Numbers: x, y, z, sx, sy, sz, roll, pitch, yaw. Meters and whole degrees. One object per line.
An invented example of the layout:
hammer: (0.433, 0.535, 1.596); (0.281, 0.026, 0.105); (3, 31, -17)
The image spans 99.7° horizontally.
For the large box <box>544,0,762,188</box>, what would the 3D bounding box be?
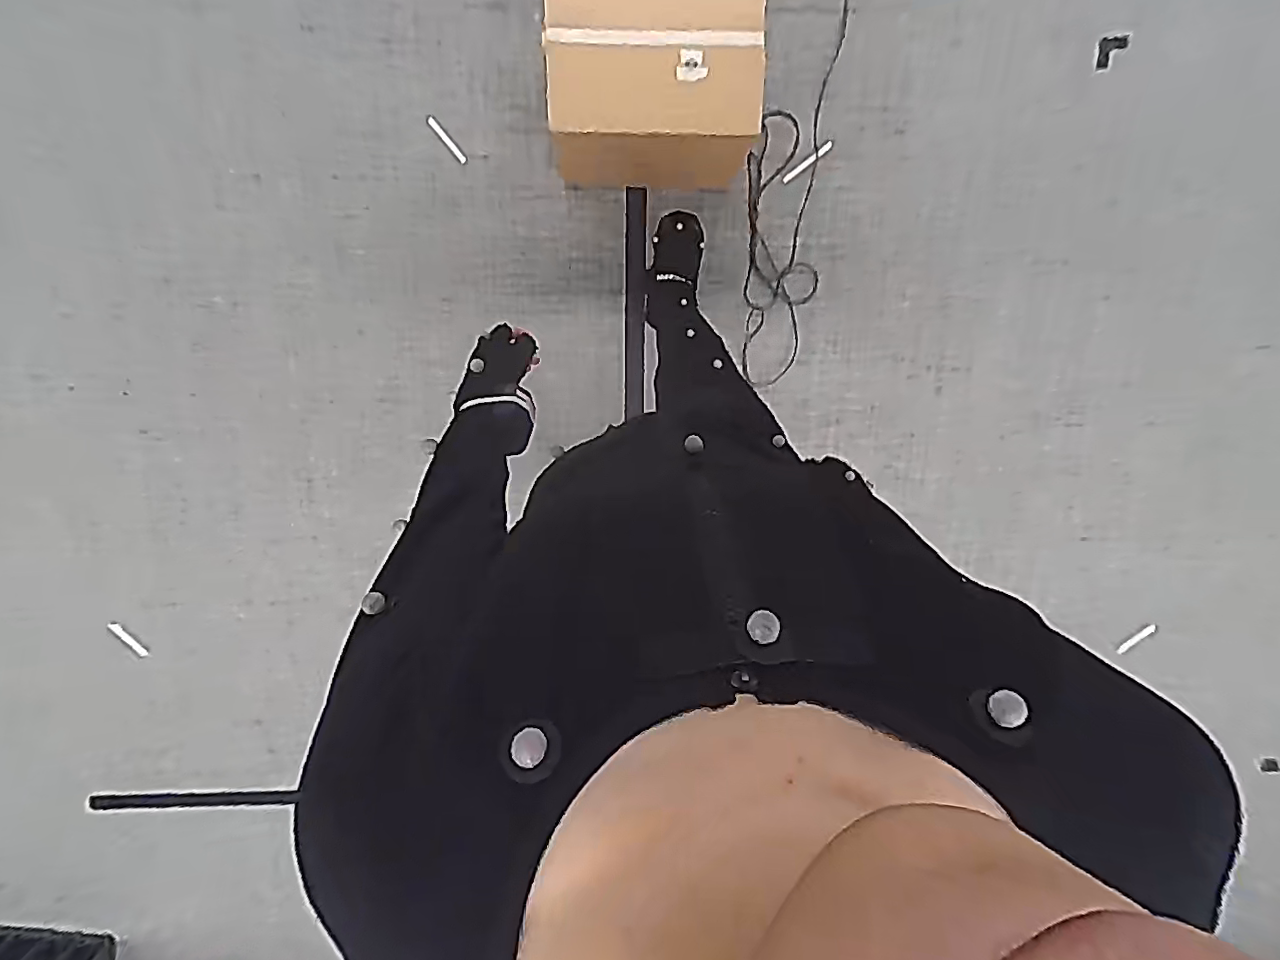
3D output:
large box: (0.019, -0.834, 1.141); (0.408, 0.320, 0.320); (-1, 101, -3)
